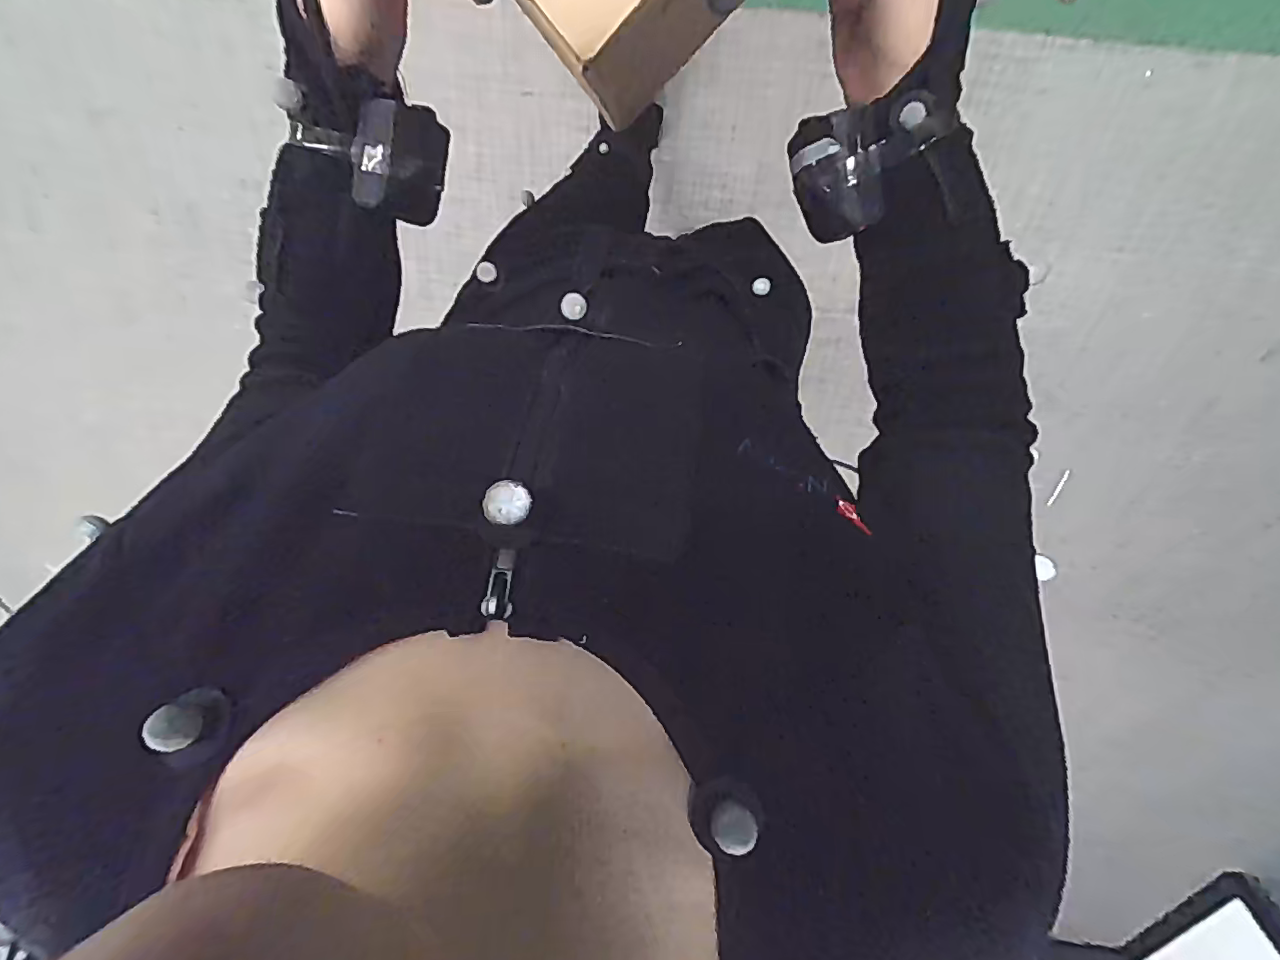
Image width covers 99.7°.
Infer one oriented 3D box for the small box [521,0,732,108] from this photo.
[{"bbox_3d":[-0.008,-0.309,0.238,0.179,0.176,0.168,-38,108,20],"label":"small box"}]
